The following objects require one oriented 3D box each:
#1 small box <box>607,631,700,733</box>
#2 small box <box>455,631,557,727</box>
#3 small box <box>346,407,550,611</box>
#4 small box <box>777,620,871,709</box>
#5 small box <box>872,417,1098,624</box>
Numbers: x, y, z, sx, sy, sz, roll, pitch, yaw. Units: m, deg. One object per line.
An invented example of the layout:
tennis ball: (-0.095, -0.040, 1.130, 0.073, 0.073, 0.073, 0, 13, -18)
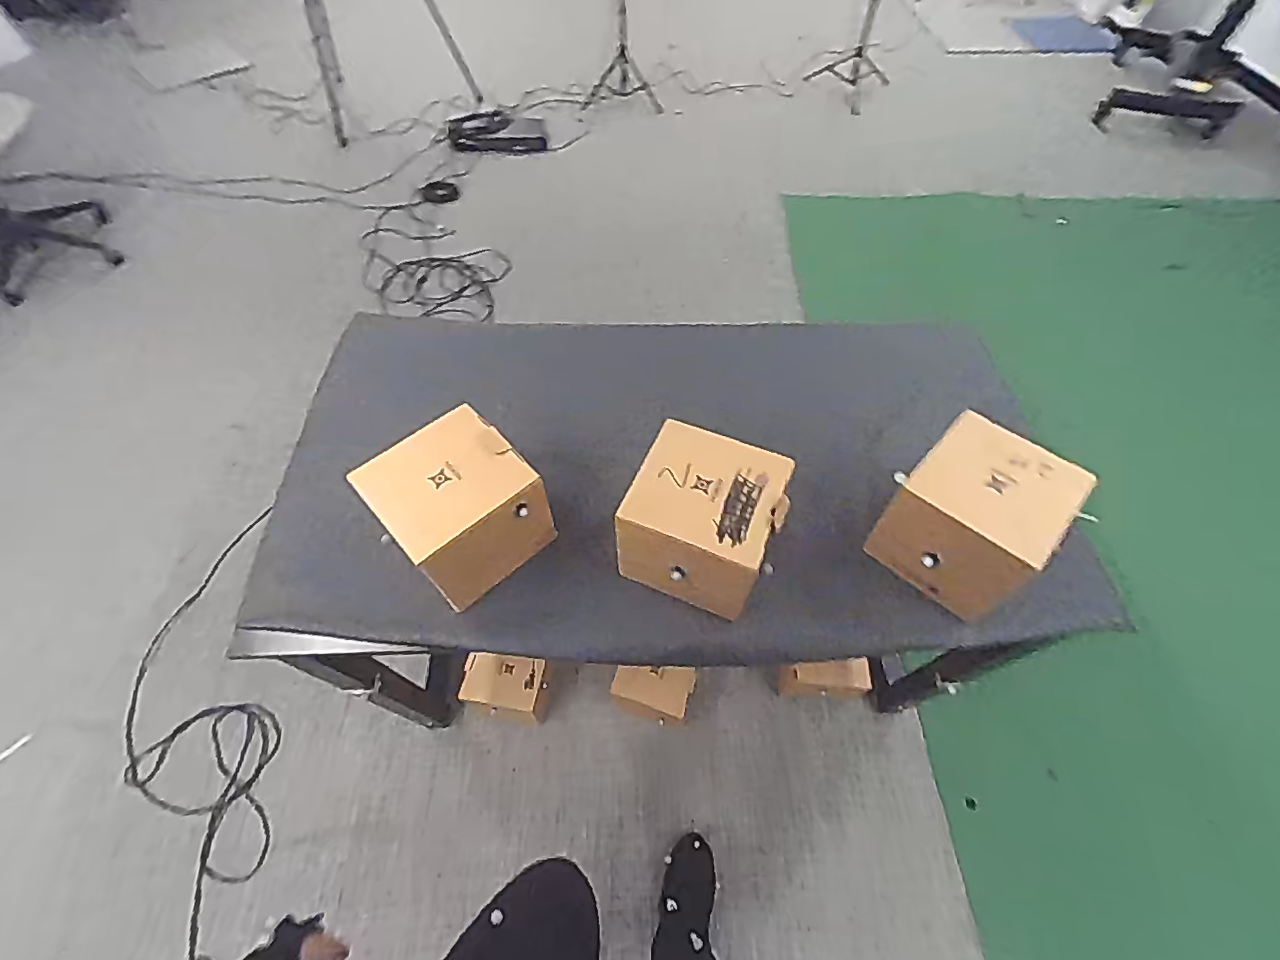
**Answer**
small box: (0.034, 0.491, 1.300, 0.179, 0.176, 0.168, 16, 57, 11)
small box: (-0.312, 0.483, 1.301, 0.179, 0.176, 0.168, 9, 57, 6)
small box: (-0.241, 0.043, 0.720, 0.179, 0.176, 0.168, -38, 65, -23)
small box: (0.439, 0.456, 1.327, 0.179, 0.176, 0.168, 4, 57, 1)
small box: (0.434, 0.058, 0.712, 0.179, 0.176, 0.168, -39, 63, -24)
